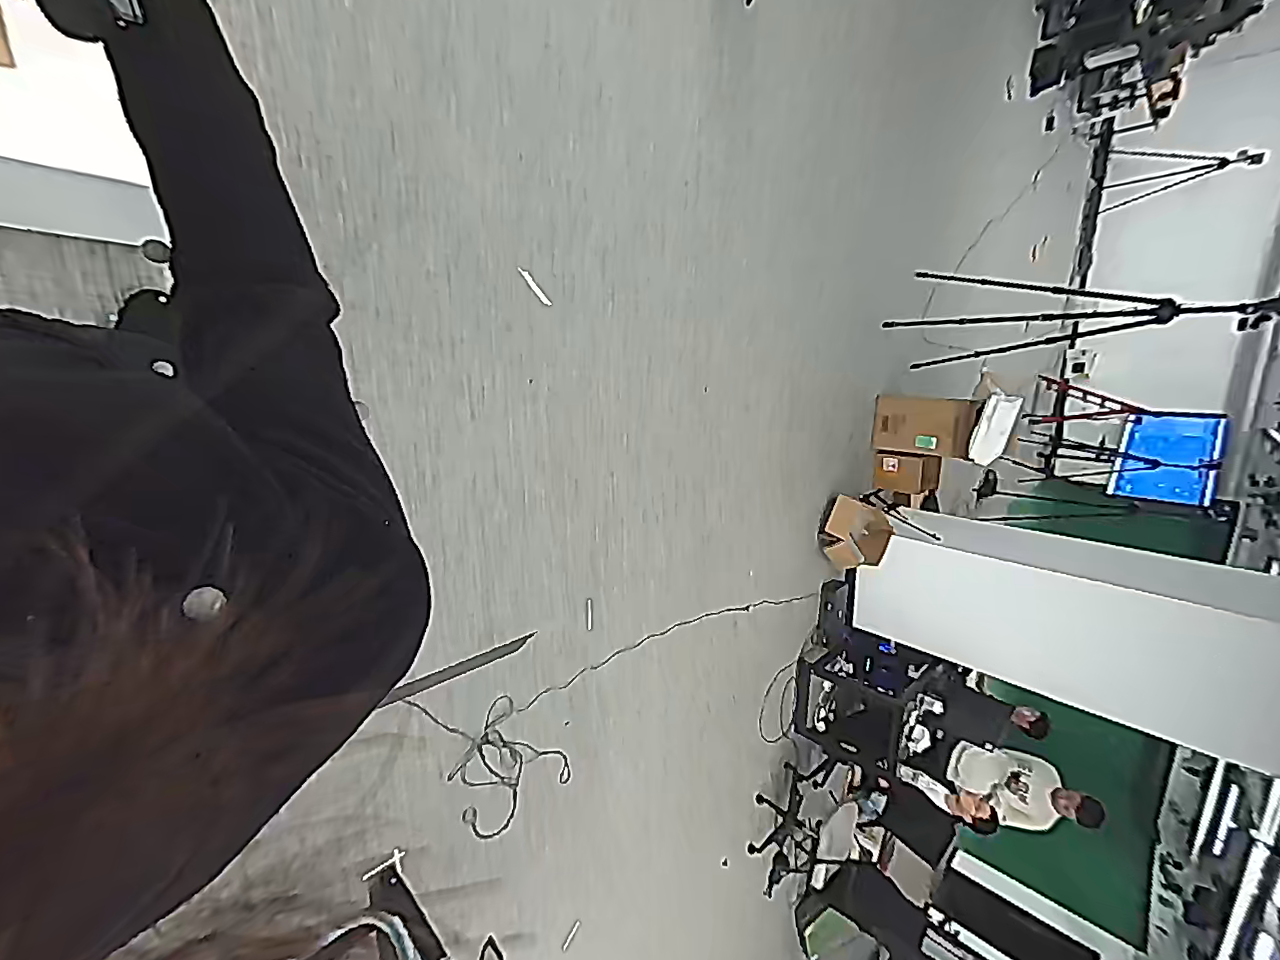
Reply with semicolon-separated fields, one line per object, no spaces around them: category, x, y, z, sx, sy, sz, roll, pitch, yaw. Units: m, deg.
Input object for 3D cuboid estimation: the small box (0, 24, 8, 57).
small box;-0.772;-0.545;0.521;0.179;0.176;0.168;-19;112;-43
